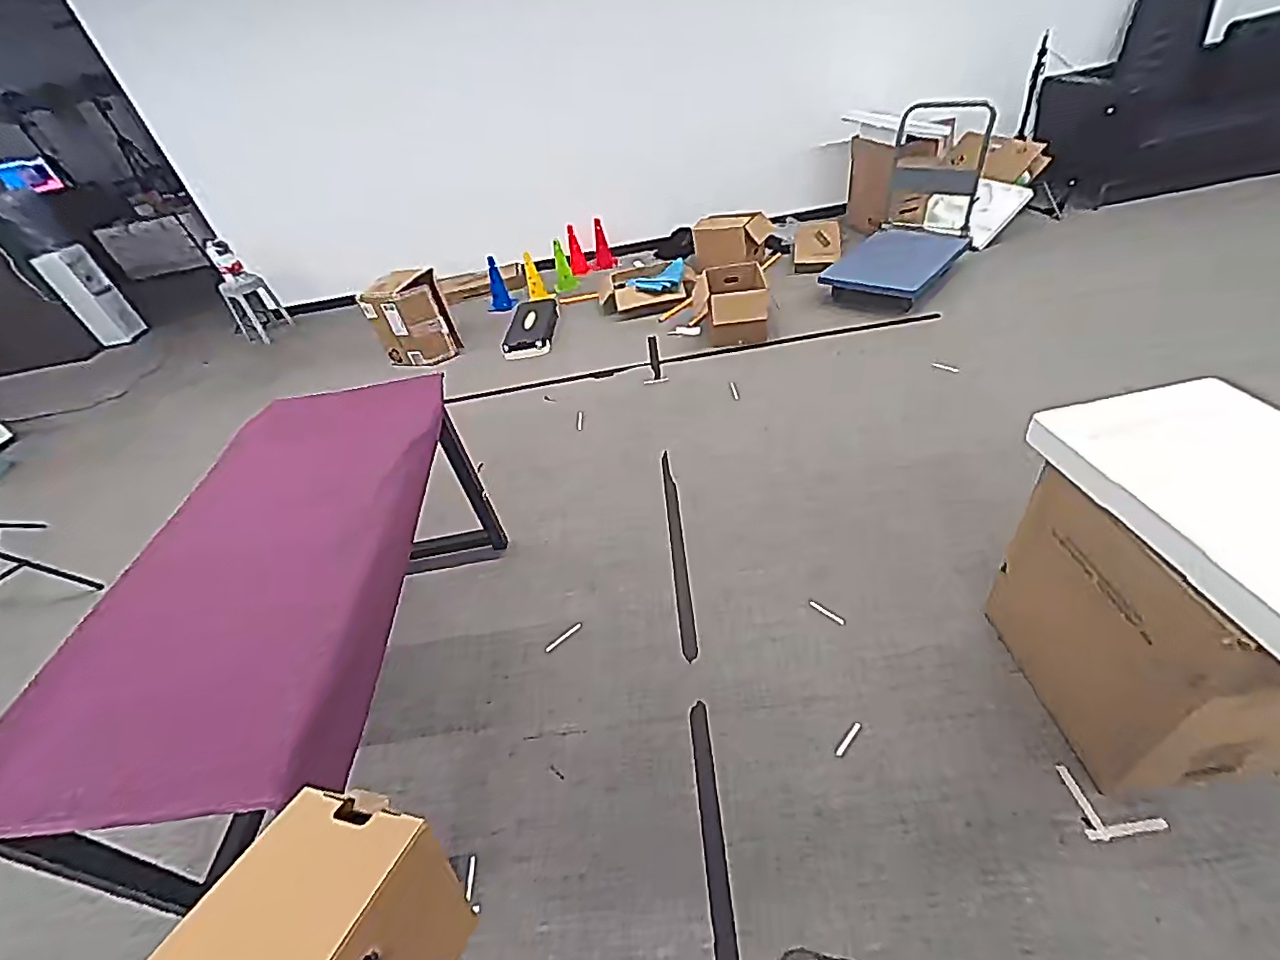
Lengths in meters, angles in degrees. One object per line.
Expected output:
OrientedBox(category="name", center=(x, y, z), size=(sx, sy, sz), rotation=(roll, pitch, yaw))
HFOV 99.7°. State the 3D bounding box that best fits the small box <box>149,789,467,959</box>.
OrientedBox(category="small box", center=(-0.289, 0.434, 0.499), size=(0.168, 0.176, 0.179), rotation=(-1, 25, 21))
